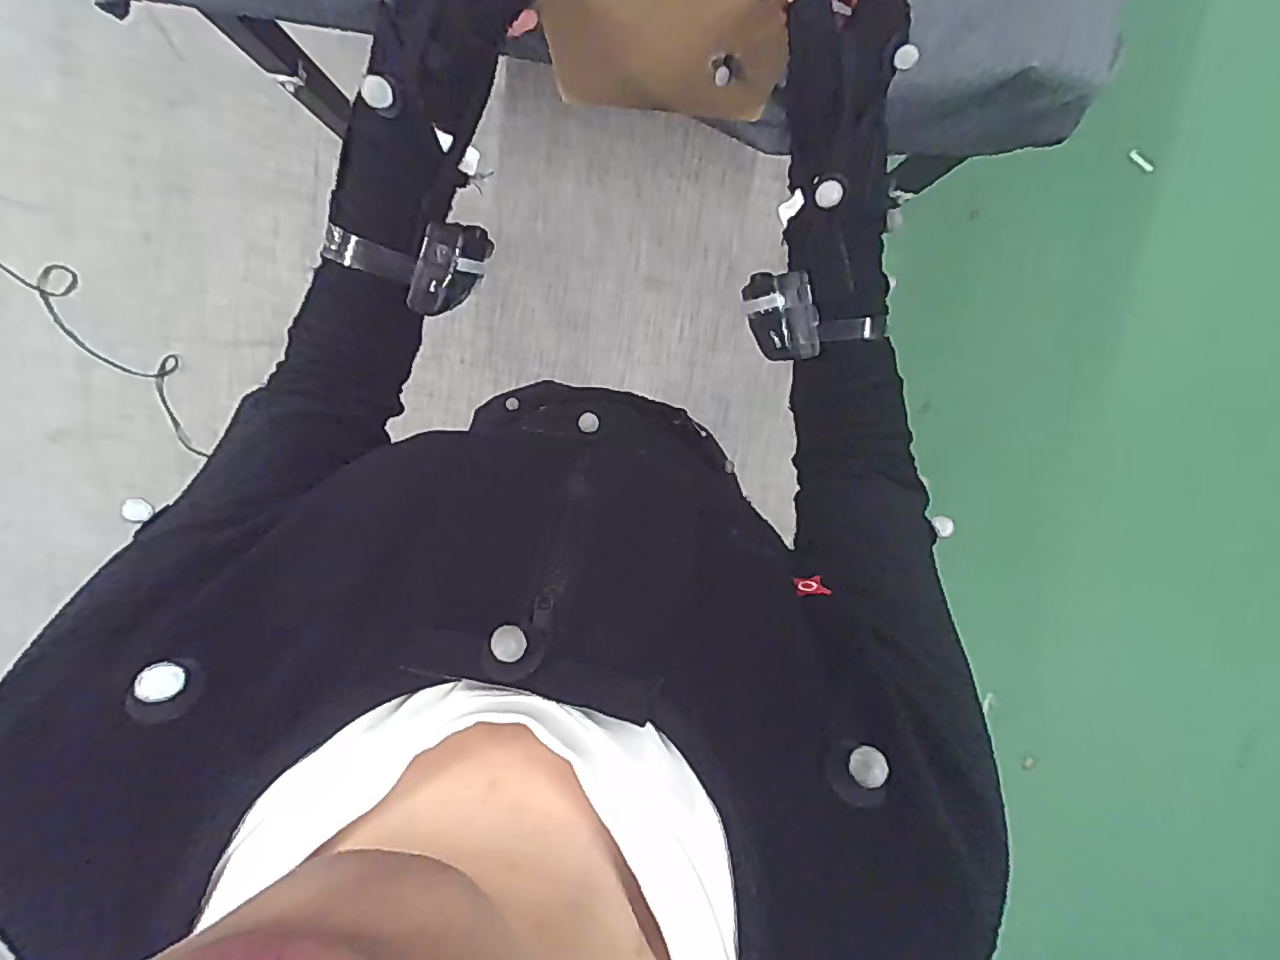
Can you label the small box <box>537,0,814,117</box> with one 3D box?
[{"bbox_3d":[0.027,-0.389,0.386,0.179,0.176,0.168,4,100,1],"label":"small box"}]
